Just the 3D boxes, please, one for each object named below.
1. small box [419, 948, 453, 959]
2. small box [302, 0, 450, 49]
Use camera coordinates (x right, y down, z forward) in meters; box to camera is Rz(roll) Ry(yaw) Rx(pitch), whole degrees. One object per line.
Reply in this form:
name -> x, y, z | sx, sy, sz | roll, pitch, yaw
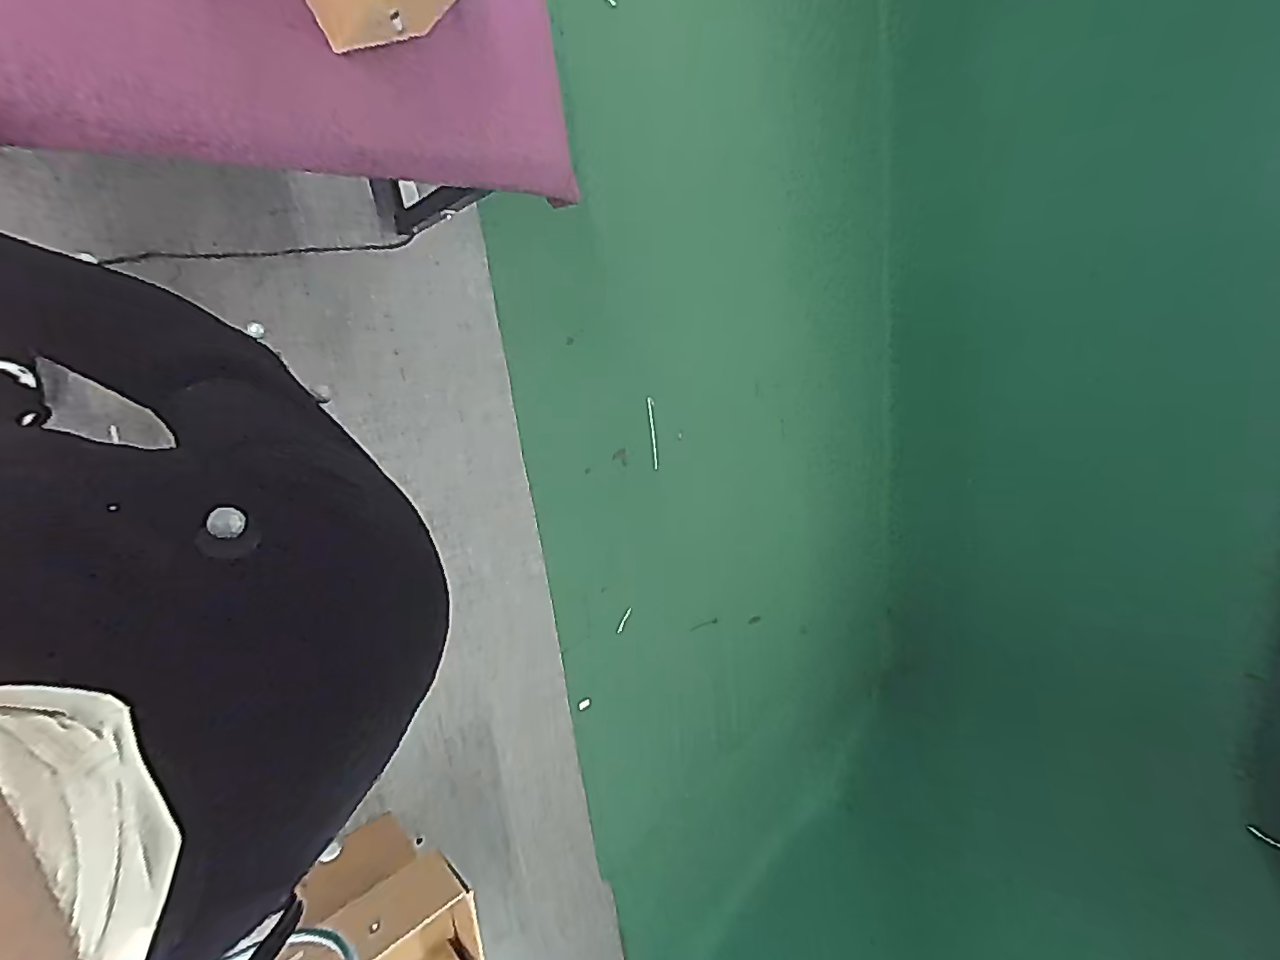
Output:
small box -> -0.515, 1.304, 1.317 | 0.168, 0.176, 0.179 | -14, 106, -42
small box -> -0.368, -0.716, 0.723 | 0.168, 0.176, 0.179 | -45, 124, -31
